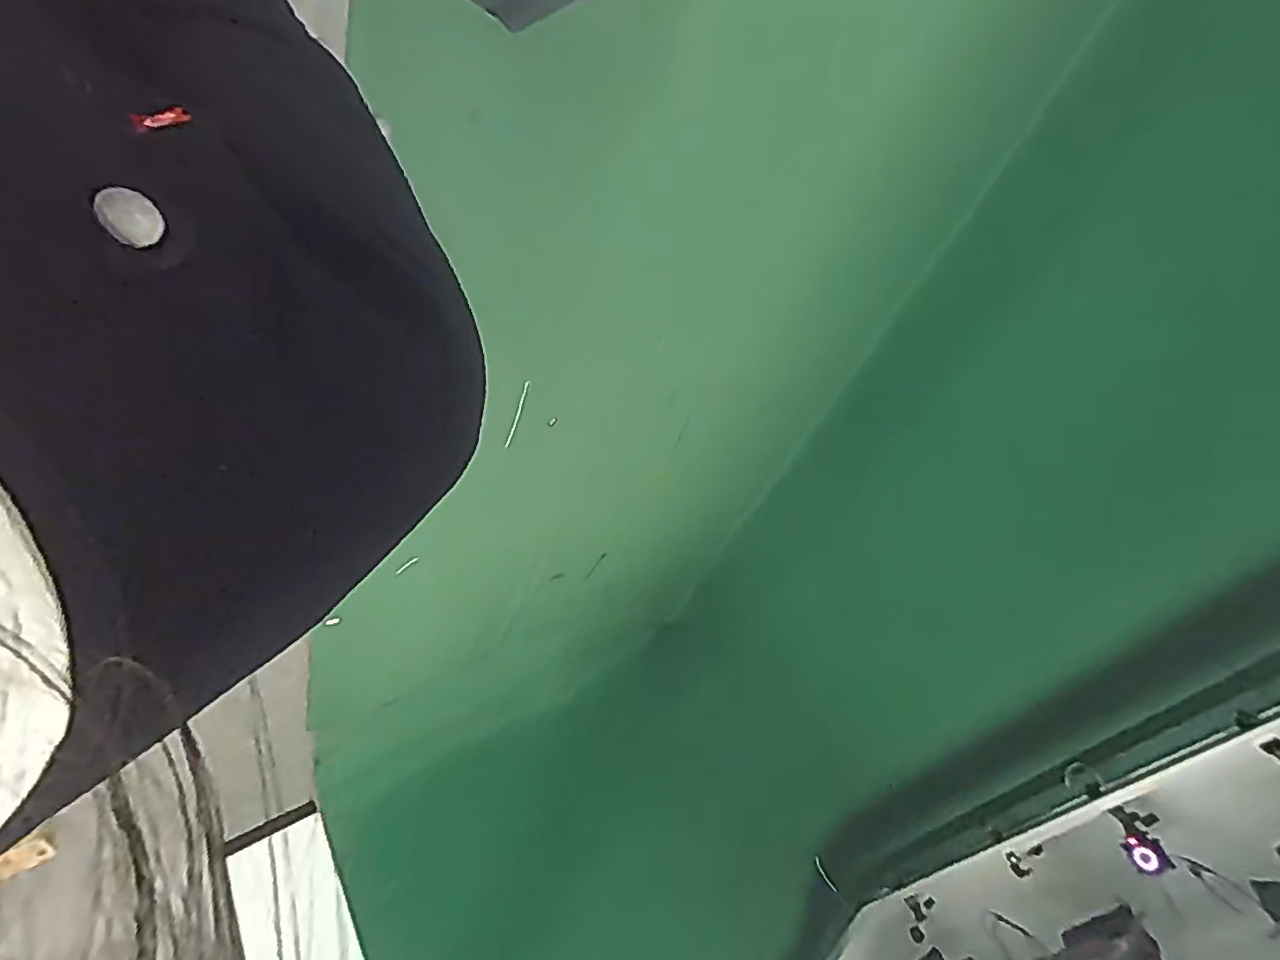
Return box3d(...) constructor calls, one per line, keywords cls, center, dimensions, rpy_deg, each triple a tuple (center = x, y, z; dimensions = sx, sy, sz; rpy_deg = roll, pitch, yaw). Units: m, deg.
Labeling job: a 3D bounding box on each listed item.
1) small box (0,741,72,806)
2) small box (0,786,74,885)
box3d(cls="small box", center=(-1.982, 0.983, 1.738), dimensions=(0.179, 0.176, 0.168), rpy_deg=(-19, 144, -34))
box3d(cls="small box", center=(-1.885, 1.088, 1.658), dimensions=(0.179, 0.176, 0.168), rpy_deg=(-15, 142, -38))
